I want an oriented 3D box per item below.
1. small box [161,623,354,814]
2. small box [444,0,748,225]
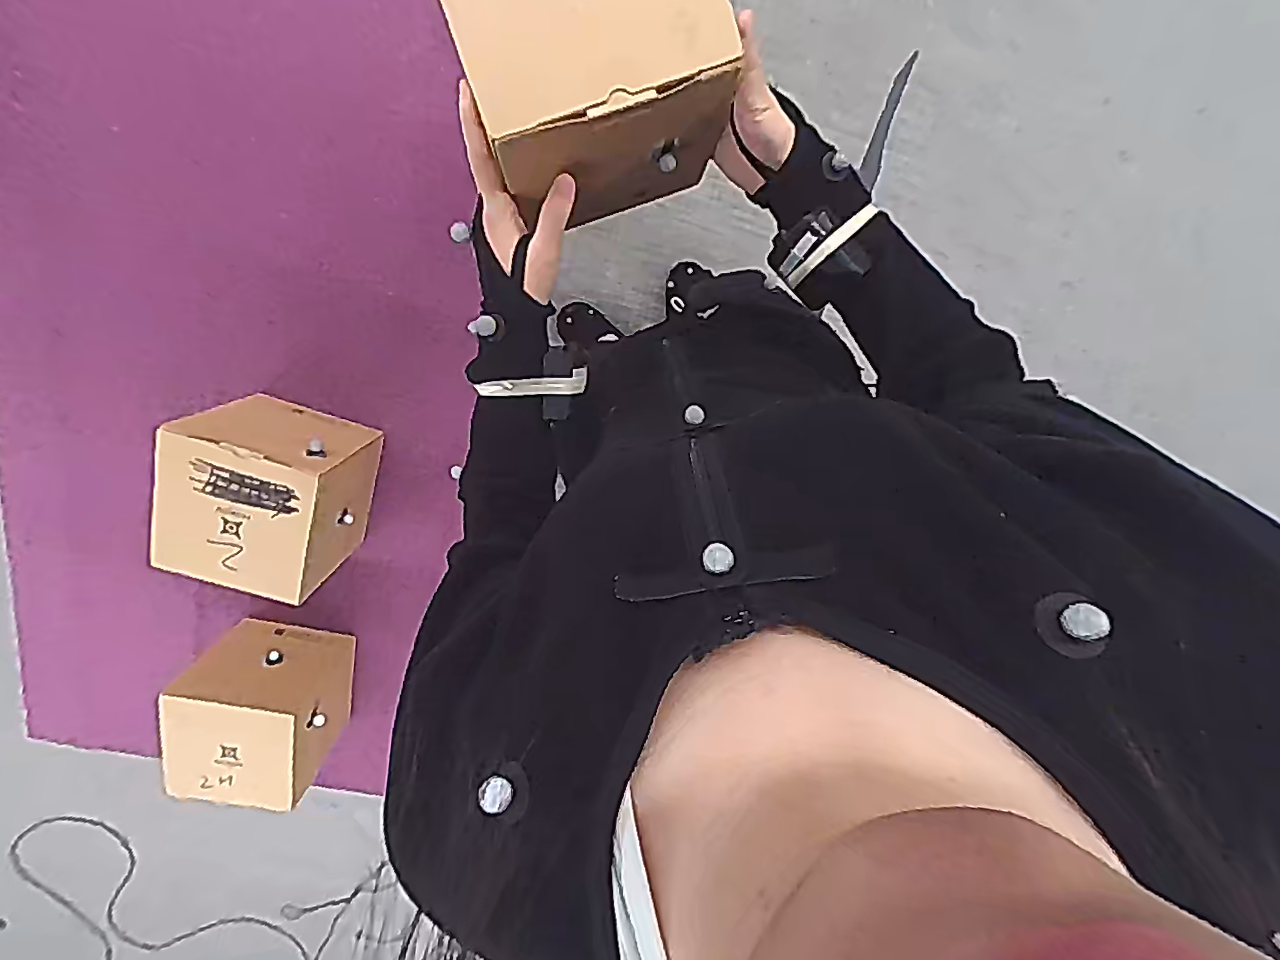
[{"bbox_3d":[-0.535,0.333,0.777,0.168,0.176,0.179,12,109,-5],"label":"small box"},{"bbox_3d":[-0.042,-0.311,0.394,0.168,0.176,0.179,-20,95,-3],"label":"small box"}]
